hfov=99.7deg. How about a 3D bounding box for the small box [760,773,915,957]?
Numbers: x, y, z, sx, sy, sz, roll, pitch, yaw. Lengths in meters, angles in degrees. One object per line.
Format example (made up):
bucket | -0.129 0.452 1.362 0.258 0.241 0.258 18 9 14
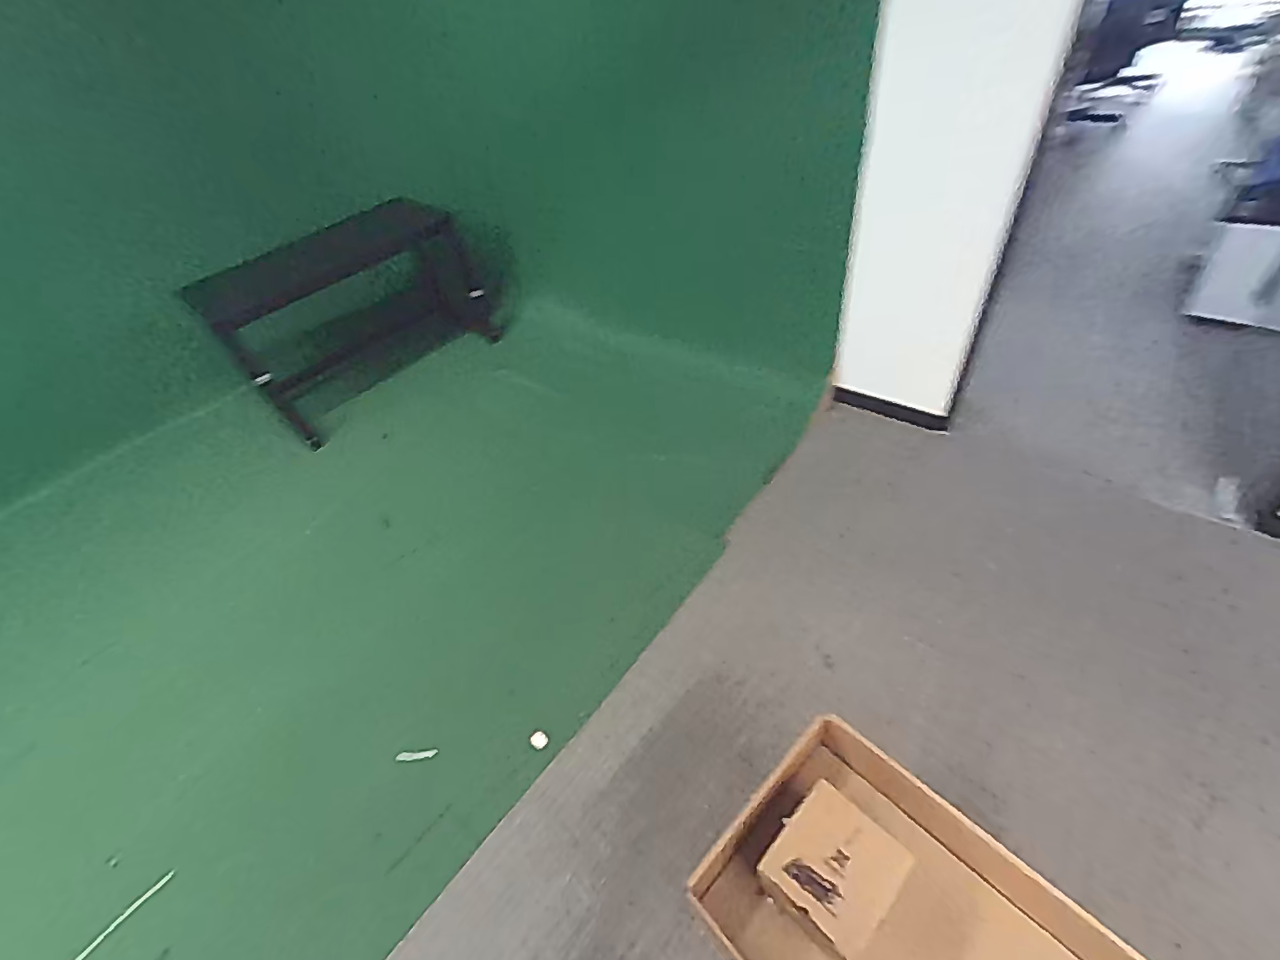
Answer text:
small box | 0.319 0.634 0.889 0.179 0.176 0.168 -39 51 -23
